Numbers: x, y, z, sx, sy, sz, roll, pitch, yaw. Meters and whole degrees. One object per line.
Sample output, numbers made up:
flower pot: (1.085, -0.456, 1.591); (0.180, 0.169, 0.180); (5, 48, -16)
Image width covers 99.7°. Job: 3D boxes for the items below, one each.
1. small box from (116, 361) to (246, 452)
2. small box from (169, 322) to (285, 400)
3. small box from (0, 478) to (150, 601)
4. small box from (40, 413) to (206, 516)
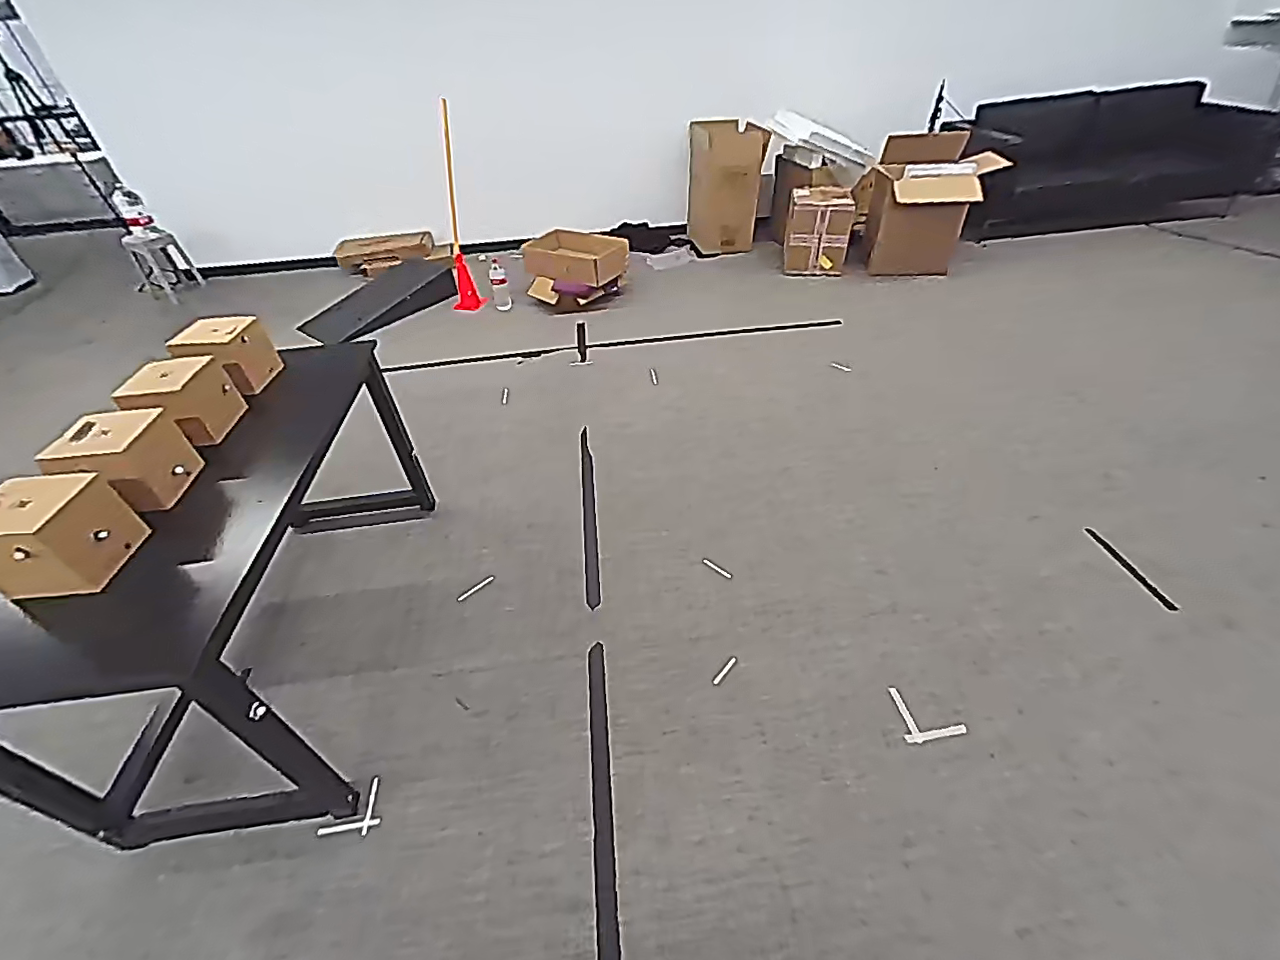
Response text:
small box: (-1.174, -0.188, 1.406); (0.168, 0.176, 0.179); (-8, 42, -2)
small box: (-1.200, -0.345, 1.587); (0.179, 0.176, 0.168); (-4, 41, 2)
small box: (-1.126, 0.116, 1.047); (0.179, 0.176, 0.168); (-5, 40, 0)
small box: (-1.145, -0.029, 1.216); (0.179, 0.176, 0.168); (-6, 40, -5)
